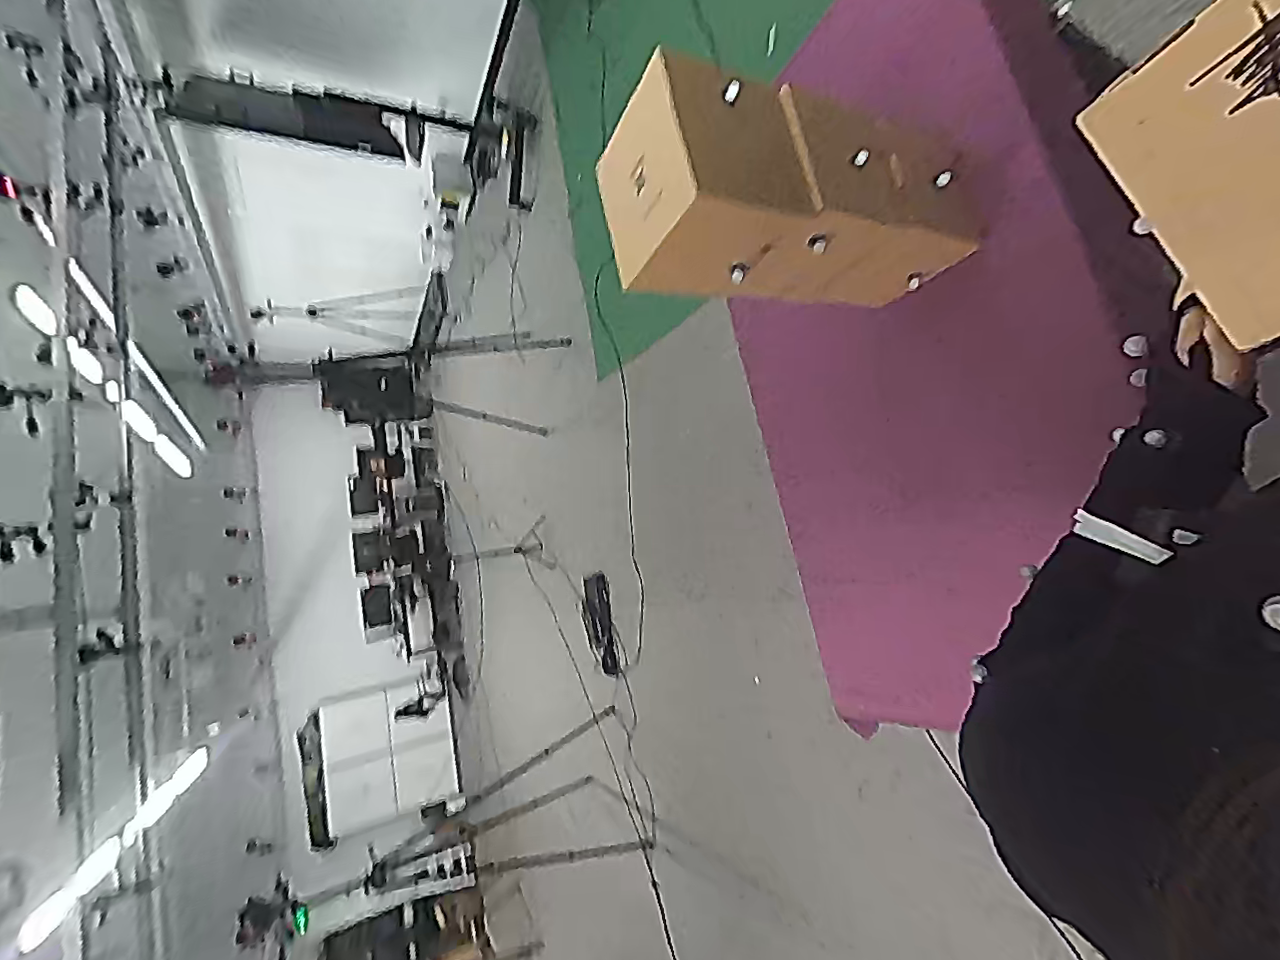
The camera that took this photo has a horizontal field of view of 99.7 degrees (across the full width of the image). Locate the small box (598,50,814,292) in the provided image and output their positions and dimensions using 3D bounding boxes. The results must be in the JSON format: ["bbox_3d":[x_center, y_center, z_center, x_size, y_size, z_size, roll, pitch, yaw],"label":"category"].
[{"bbox_3d":[0.072,-0.342,0.638,0.168,0.176,0.179,-29,72,59],"label":"small box"}]

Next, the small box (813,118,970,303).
[{"bbox_3d":[0.354,-0.383,0.802,0.179,0.176,0.168,-27,72,57],"label":"small box"}]

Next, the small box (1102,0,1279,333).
[{"bbox_3d":[0.417,-0.207,0.298,0.168,0.176,0.179,-38,74,57],"label":"small box"}]

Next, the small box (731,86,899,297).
[{"bbox_3d":[0.214,-0.363,0.718,0.179,0.176,0.168,-28,71,58],"label":"small box"}]
